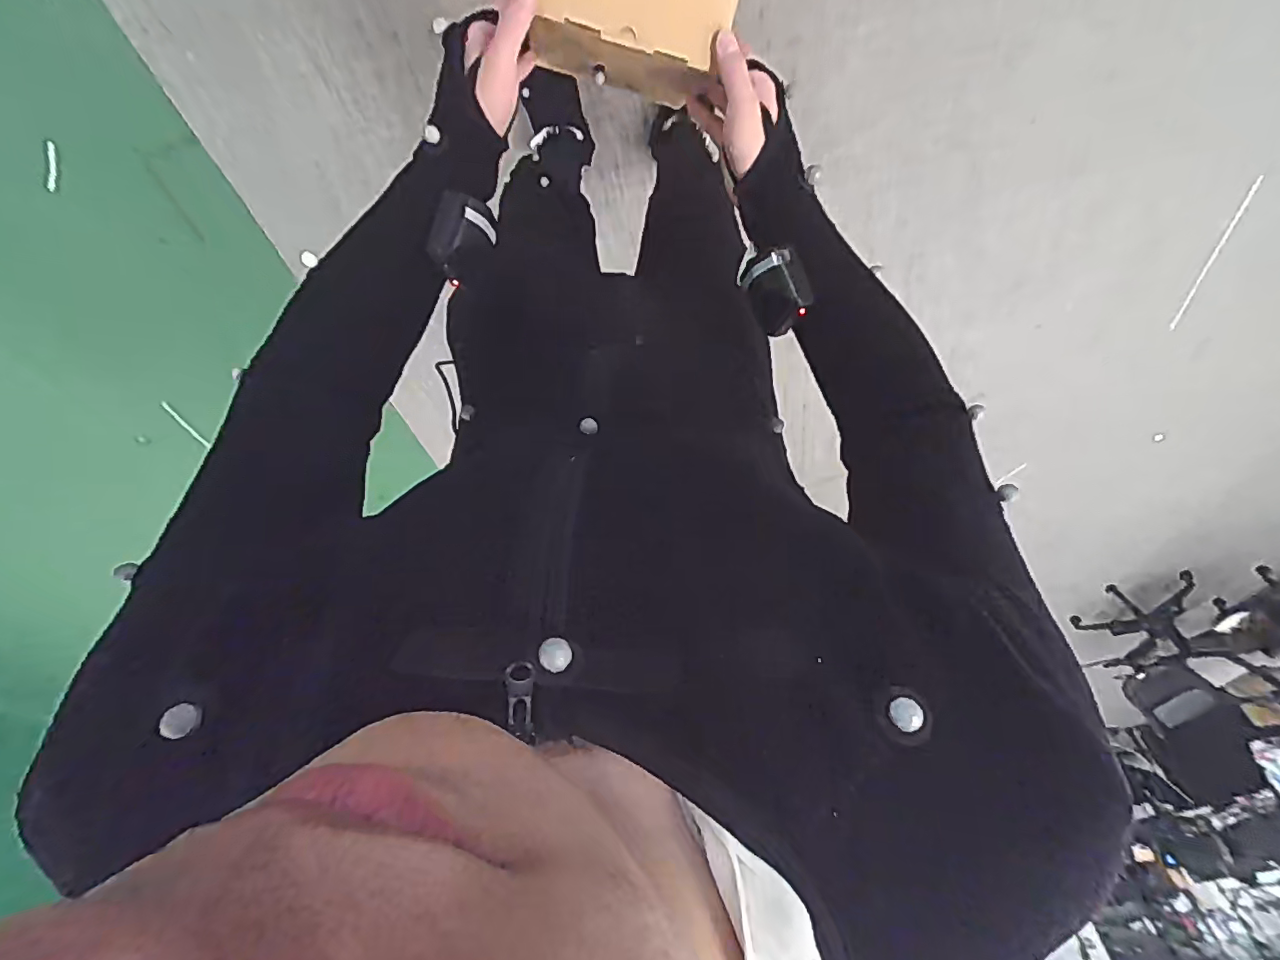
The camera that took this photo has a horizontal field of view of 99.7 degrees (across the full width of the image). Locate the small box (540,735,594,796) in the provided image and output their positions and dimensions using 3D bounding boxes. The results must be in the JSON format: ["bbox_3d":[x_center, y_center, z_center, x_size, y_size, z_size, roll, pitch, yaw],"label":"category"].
[{"bbox_3d":[-0.273,1.079,2.045,0.168,0.176,0.179,-11,139,4],"label":"small box"}]
